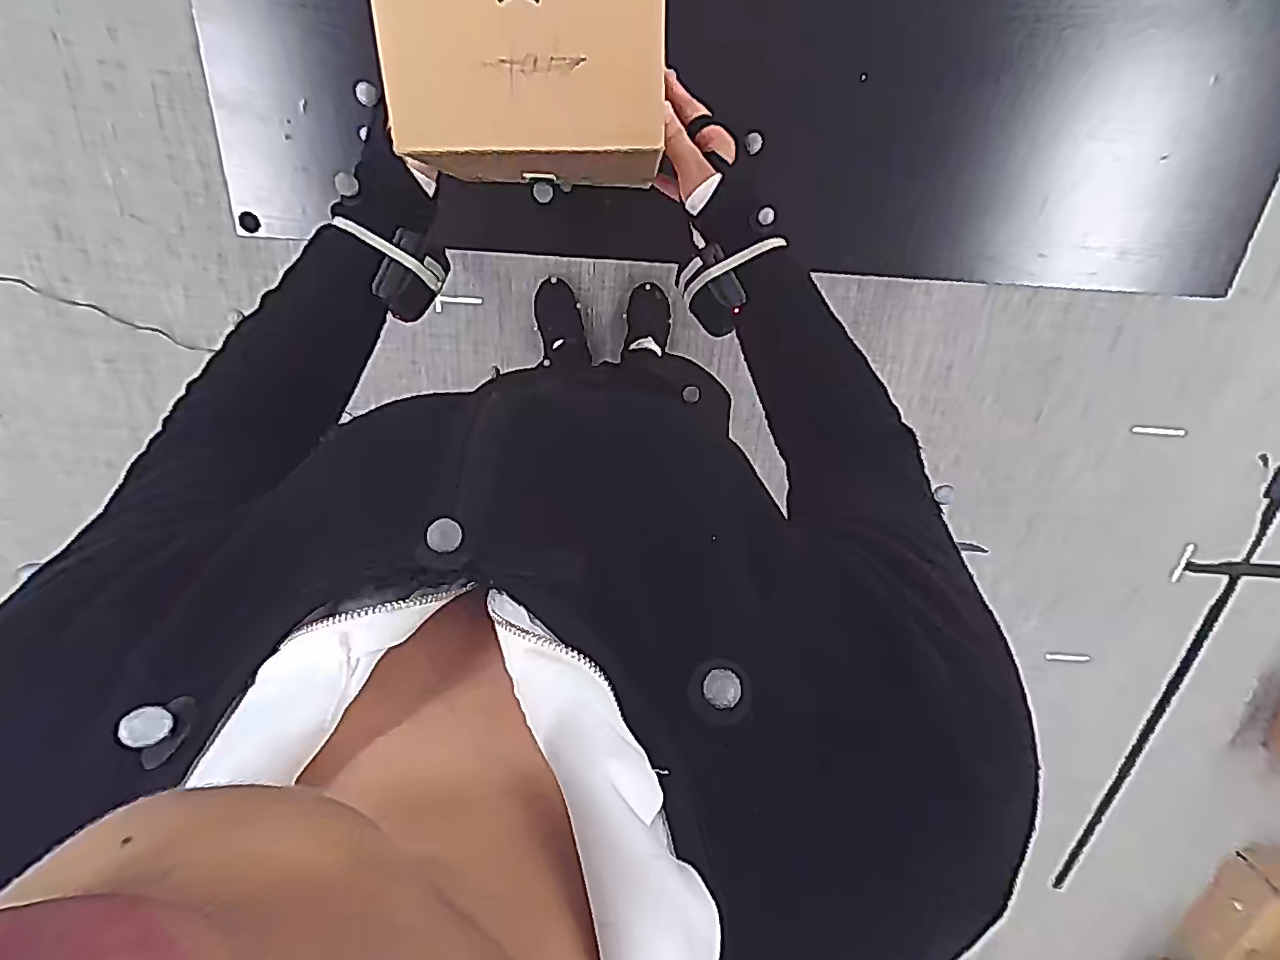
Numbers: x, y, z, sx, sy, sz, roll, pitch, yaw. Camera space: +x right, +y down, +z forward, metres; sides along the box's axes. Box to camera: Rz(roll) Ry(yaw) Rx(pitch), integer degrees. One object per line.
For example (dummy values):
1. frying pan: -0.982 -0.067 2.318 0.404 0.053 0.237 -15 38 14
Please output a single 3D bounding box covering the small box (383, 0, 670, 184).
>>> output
1. small box: -0.065 -0.316 0.376 0.168 0.176 0.179 -1 114 1
